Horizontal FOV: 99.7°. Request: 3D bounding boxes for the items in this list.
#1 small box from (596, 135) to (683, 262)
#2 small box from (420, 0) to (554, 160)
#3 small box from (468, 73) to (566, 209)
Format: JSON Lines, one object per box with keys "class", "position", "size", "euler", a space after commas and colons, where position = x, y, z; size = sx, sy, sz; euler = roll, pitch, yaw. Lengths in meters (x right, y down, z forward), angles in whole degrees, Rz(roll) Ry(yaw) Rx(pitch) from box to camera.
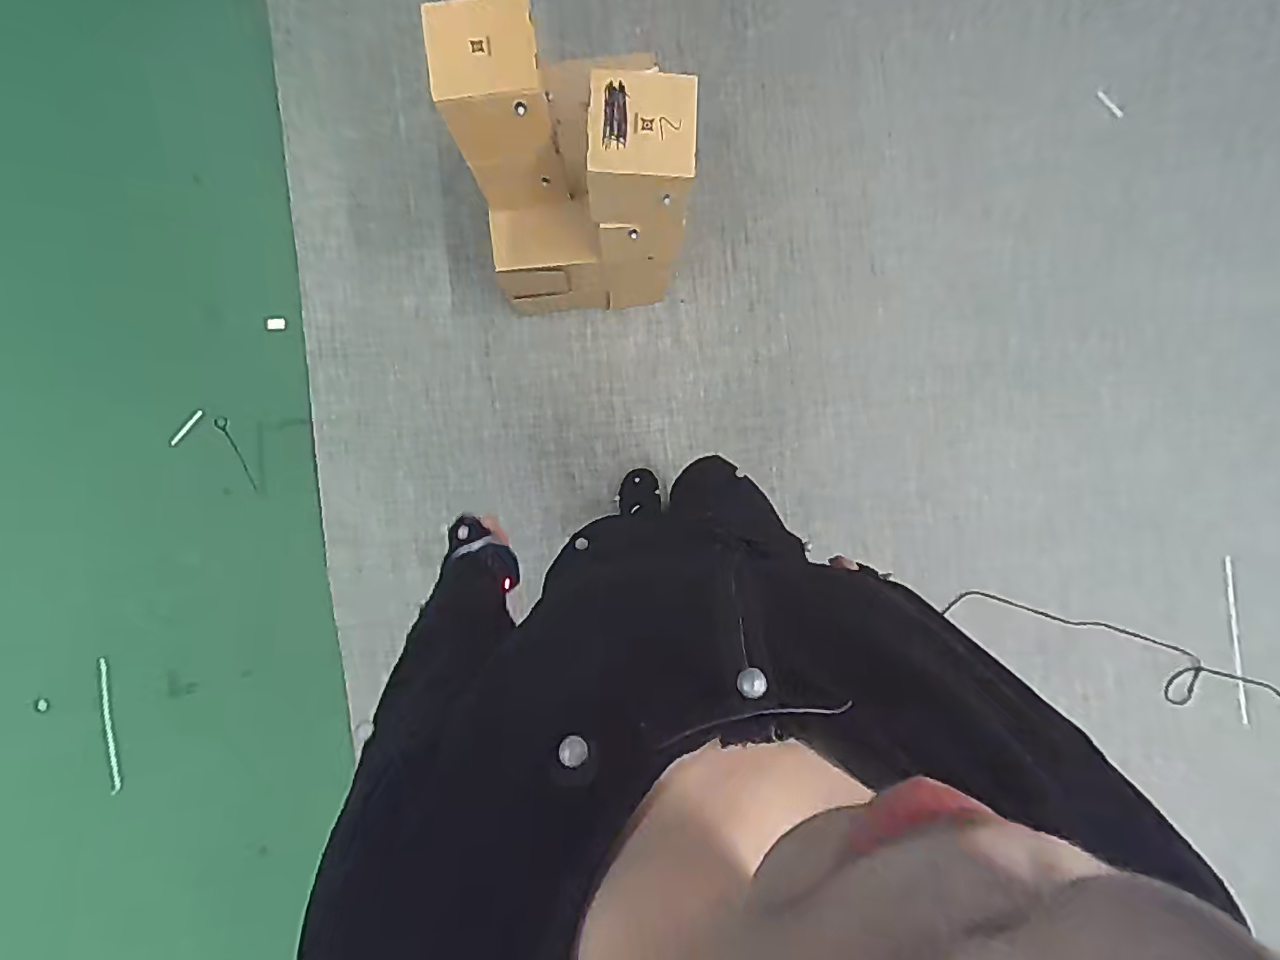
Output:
{"class": "small box", "position": [-0.004, -0.567, 1.104], "size": [0.168, 0.176, 0.179], "euler": [-2, 89, -1]}
{"class": "small box", "position": [-0.257, -0.690, 0.942], "size": [0.179, 0.176, 0.168], "euler": [-8, 88, -1]}
{"class": "small box", "position": [-0.251, -0.684, 1.105], "size": [0.179, 0.176, 0.168], "euler": [-9, 88, 0]}
